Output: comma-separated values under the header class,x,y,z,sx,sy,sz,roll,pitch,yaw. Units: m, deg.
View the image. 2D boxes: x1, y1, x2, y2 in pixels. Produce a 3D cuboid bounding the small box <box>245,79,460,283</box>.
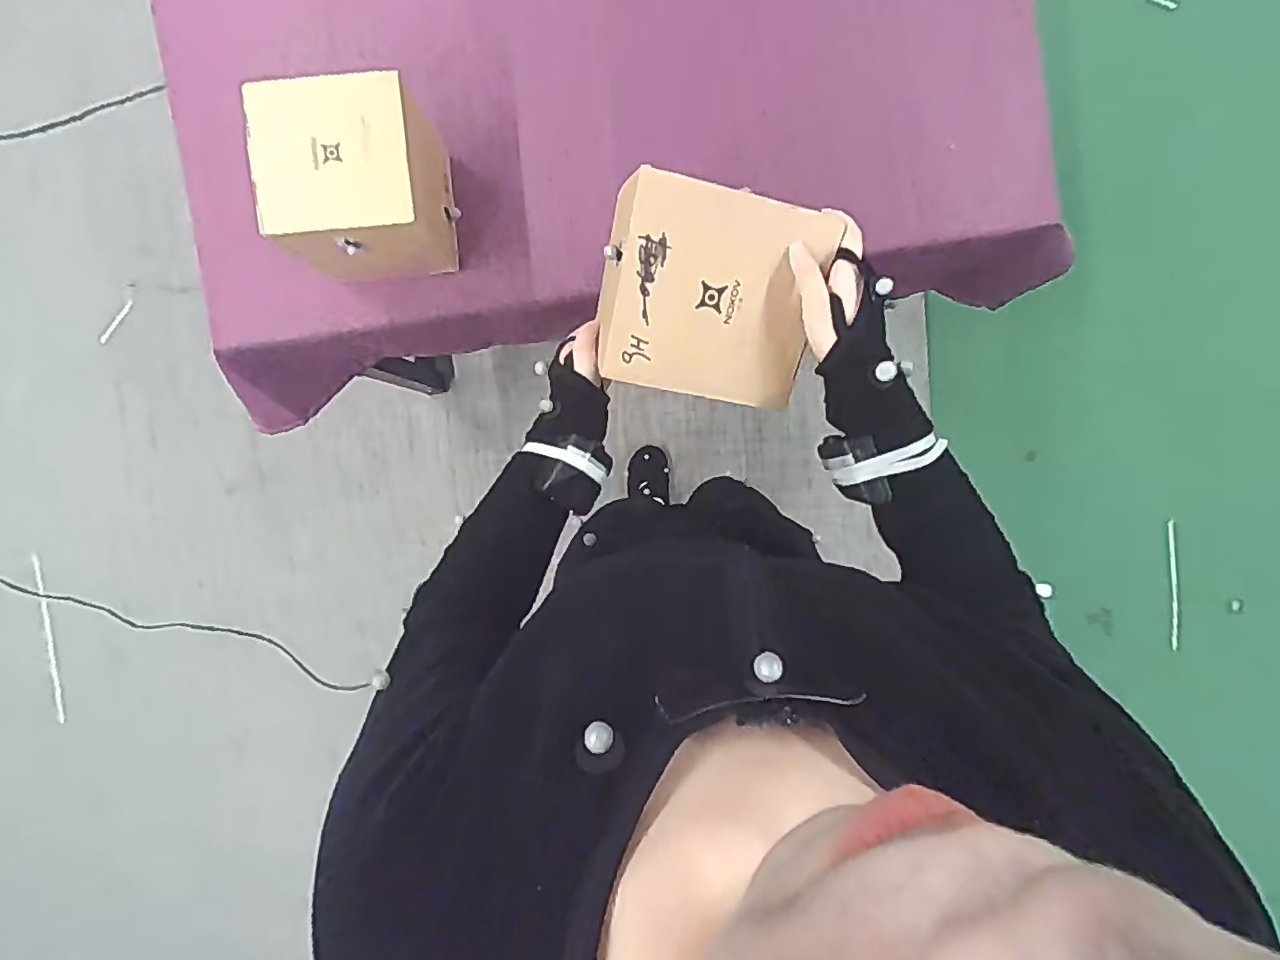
class,x,y,z,sx,sy,sz,roll,pitch,yaw
small box,-0.345,-0.359,0.680,0.179,0.176,0.168,-5,93,-1
